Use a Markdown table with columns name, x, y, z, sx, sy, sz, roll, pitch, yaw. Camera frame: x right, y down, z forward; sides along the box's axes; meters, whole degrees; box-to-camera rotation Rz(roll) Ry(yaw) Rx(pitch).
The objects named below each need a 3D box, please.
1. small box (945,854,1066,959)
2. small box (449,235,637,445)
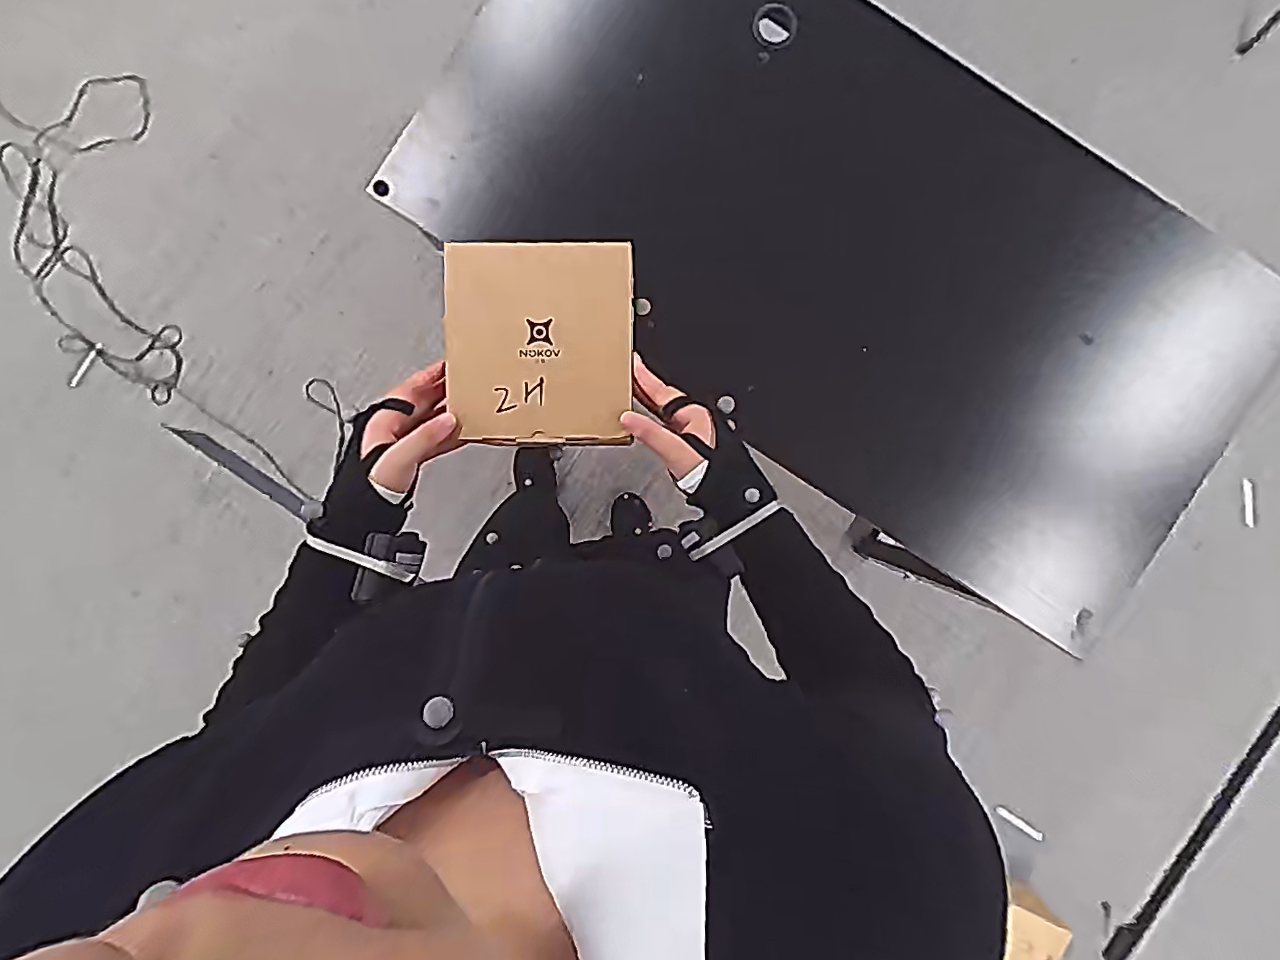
| name | x | y | z | sx | sy | sz | roll | pitch | yaw |
| --- | --- | --- | --- | --- | --- | --- | --- | --- | --- |
| small box | 0.965 | 1.152 | 1.446 | 0.179 | 0.176 | 0.168 | 27 | 91 | 0 |
| small box | -0.087 | -0.129 | 0.559 | 0.168 | 0.176 | 0.179 | 0 | 91 | 0 |
